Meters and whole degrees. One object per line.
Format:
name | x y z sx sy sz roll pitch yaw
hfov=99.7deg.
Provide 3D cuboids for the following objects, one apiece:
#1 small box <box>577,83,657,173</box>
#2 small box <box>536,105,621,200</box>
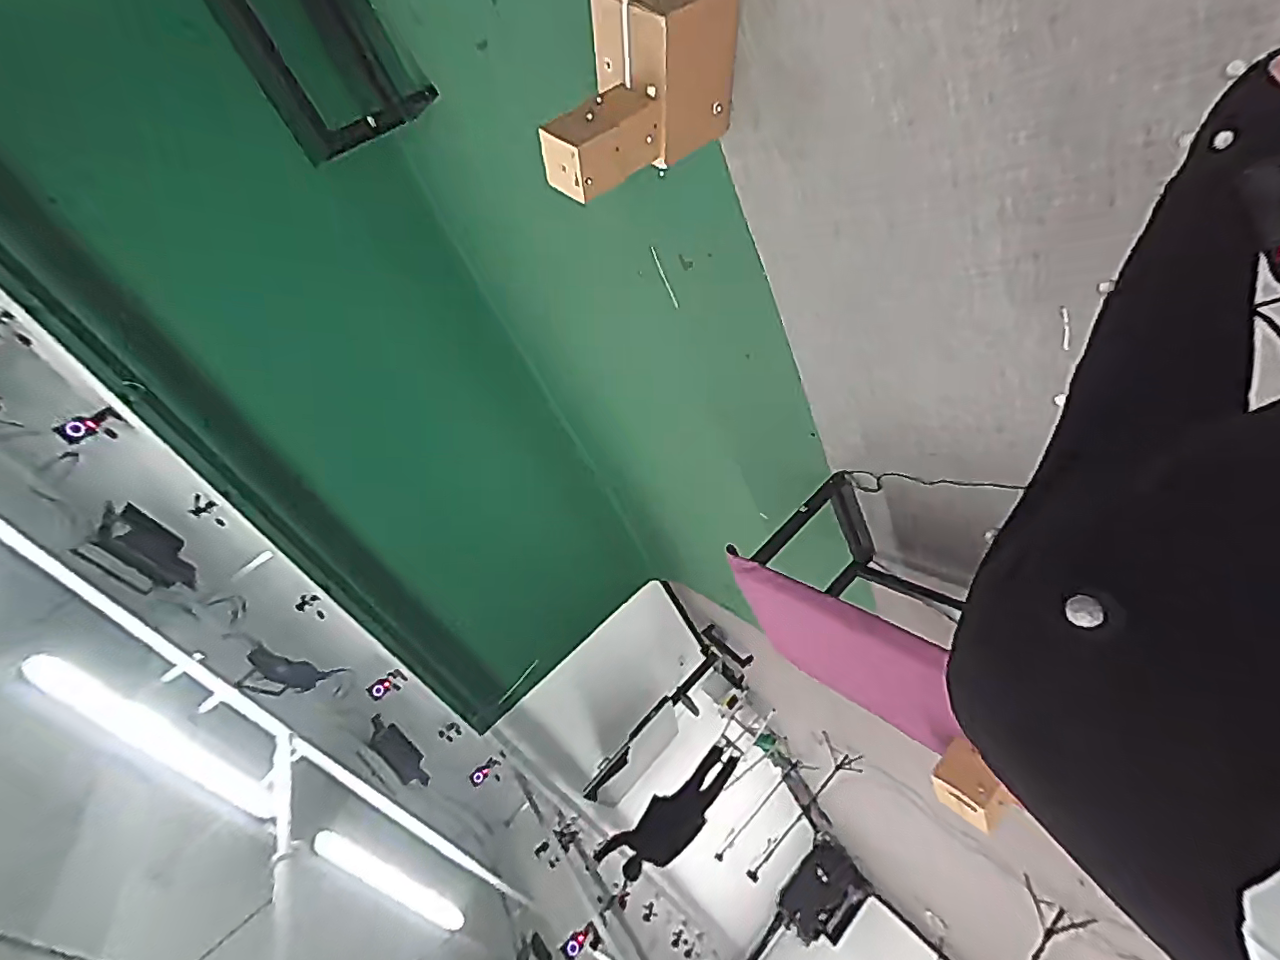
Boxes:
small box | -0.067 -1.080 1.657 0.179 0.176 0.168 40 159 22
small box | -0.176 -0.972 1.598 0.179 0.176 0.168 41 159 23
